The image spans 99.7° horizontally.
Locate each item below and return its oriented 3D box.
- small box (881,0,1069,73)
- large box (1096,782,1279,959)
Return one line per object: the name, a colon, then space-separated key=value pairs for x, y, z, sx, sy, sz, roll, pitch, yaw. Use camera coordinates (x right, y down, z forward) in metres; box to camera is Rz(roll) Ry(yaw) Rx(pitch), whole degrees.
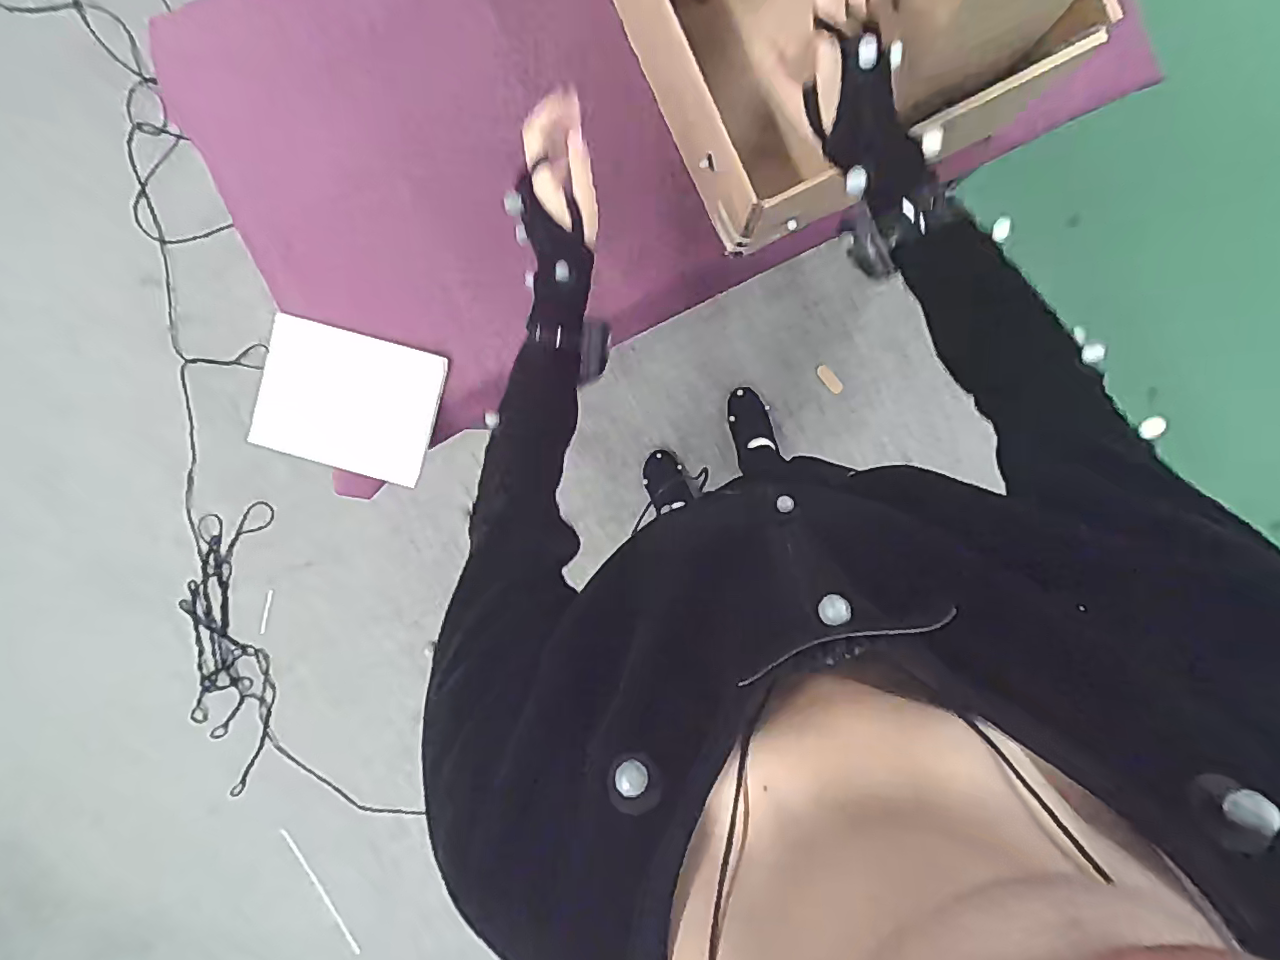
small box: x=0.302 y=-0.485 z=0.428 sx=0.179 sy=0.176 sz=0.168 roll=-23 pitch=92 yaw=8
large box: x=1.507 y=1.074 z=1.353 sx=0.408 sy=0.320 sz=0.320 roll=-41 pitch=92 yaw=4
